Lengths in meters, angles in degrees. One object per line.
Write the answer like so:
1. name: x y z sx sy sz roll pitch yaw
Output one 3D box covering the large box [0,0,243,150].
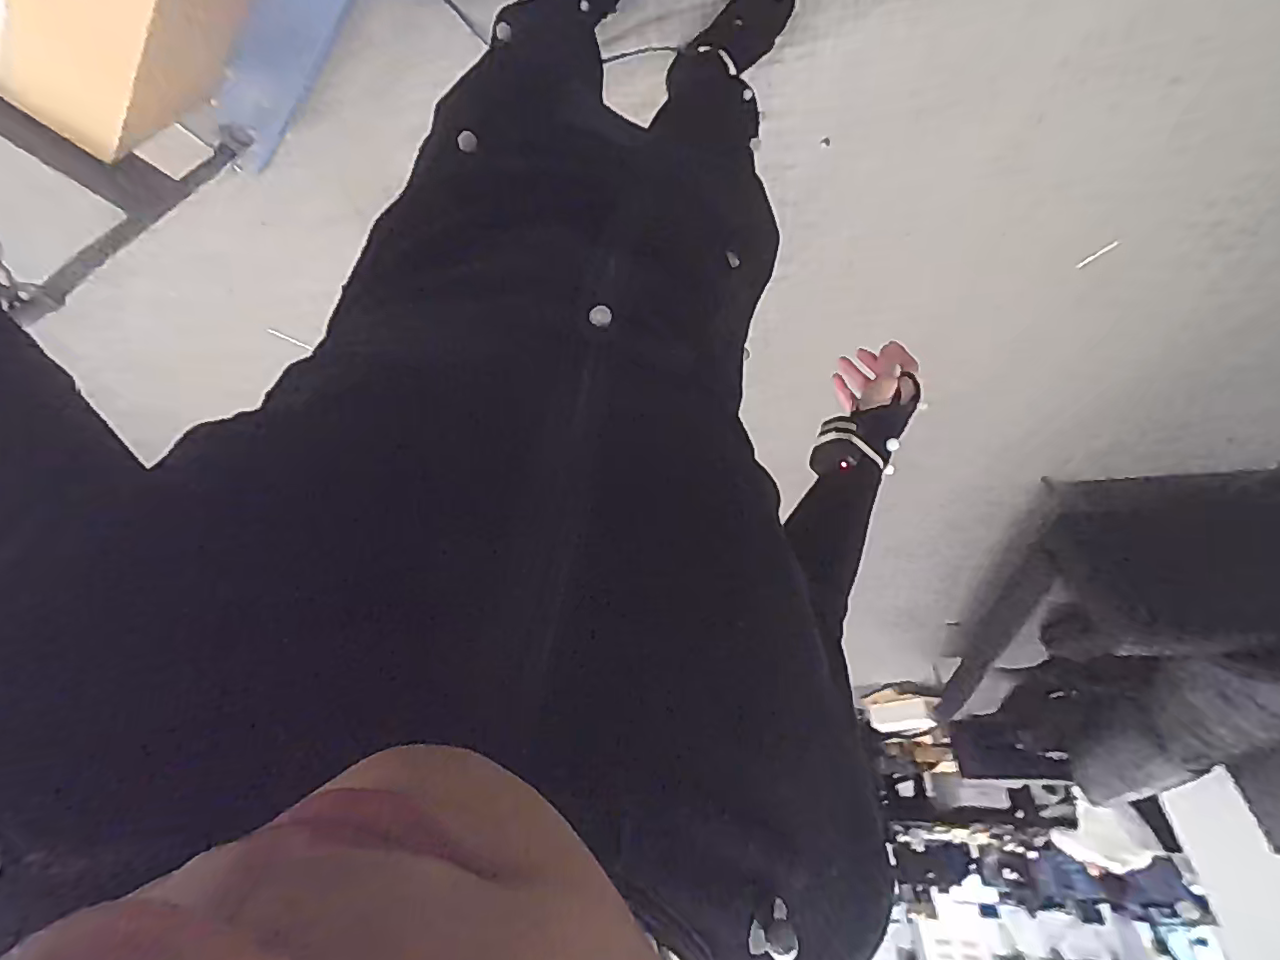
1. large box: -0.831 -0.811 0.799 0.408 0.320 0.320 -29 132 33
